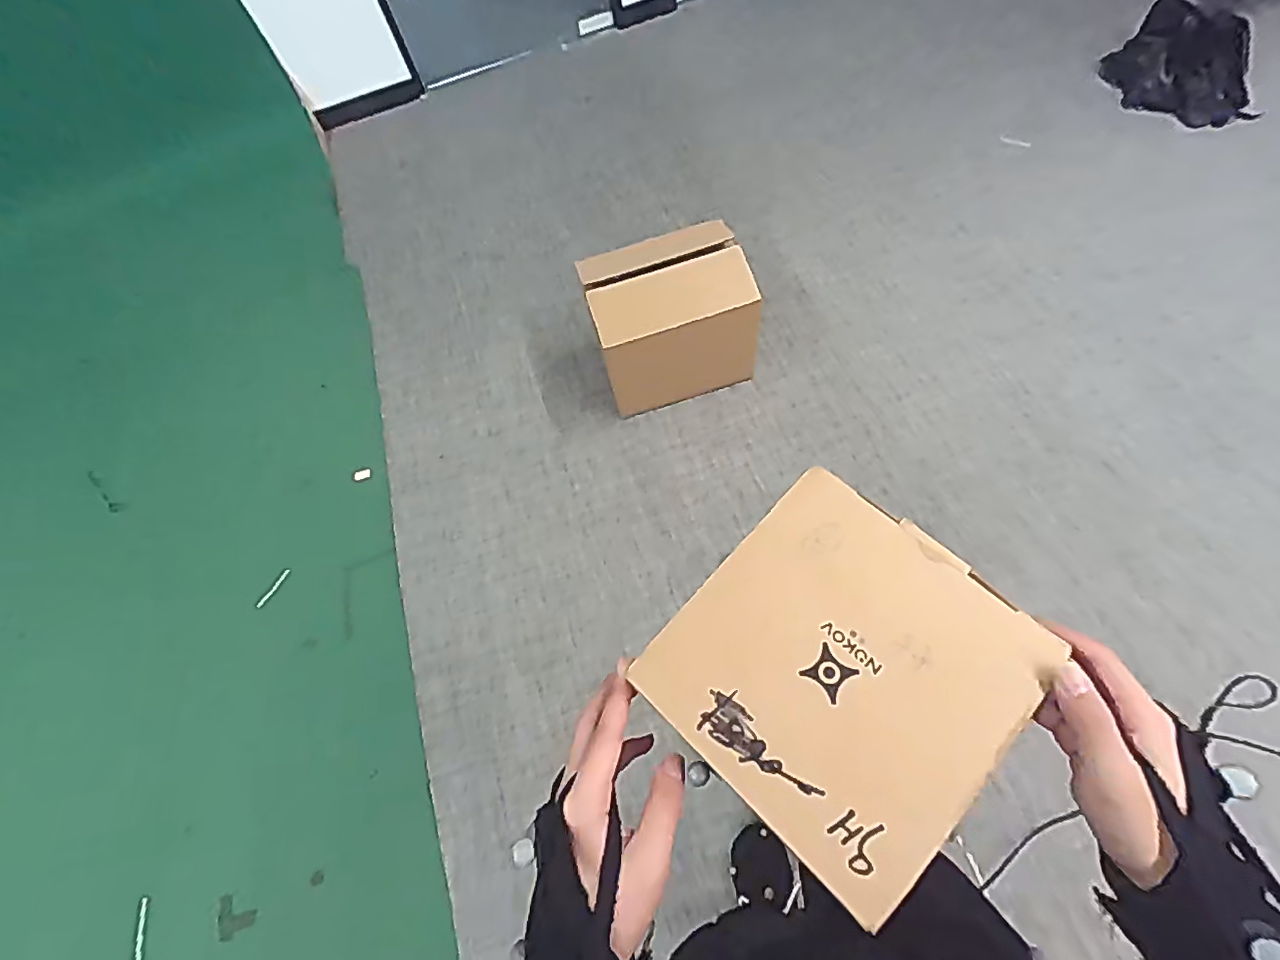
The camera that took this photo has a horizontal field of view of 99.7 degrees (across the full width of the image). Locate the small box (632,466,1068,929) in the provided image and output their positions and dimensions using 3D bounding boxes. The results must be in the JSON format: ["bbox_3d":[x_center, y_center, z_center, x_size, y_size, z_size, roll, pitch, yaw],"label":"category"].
[{"bbox_3d":[0.117,0.128,0.364,0.168,0.176,0.179,40,78,20],"label":"small box"}]
